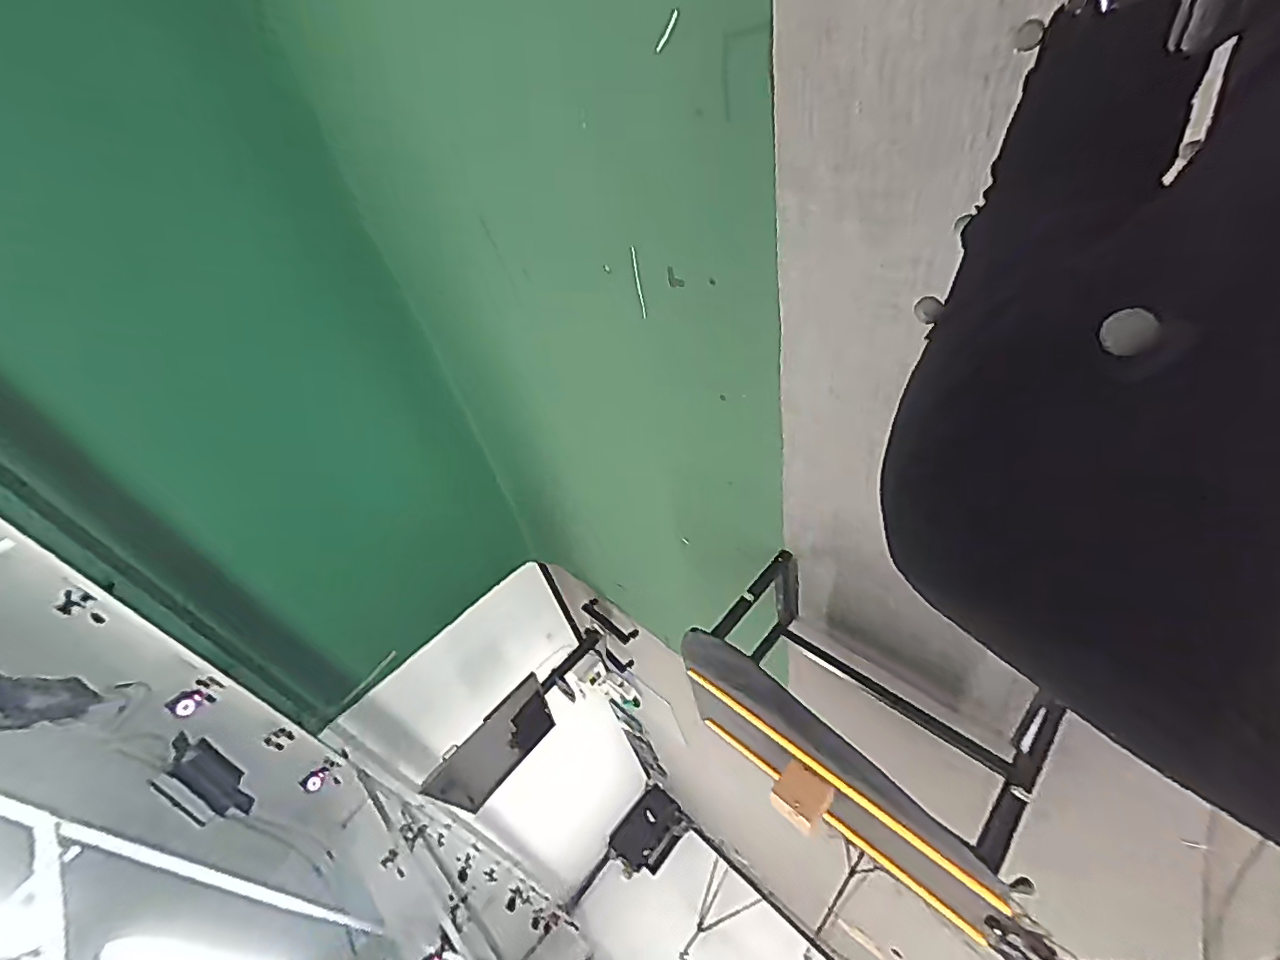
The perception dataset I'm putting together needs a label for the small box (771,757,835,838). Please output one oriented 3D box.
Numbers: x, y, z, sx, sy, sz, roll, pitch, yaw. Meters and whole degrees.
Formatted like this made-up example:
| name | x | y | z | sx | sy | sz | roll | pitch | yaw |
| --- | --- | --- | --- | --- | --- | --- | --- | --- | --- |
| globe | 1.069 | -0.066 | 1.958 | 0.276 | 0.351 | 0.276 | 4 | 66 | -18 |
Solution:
| name | x | y | z | sx | sy | sz | roll | pitch | yaw |
| --- | --- | --- | --- | --- | --- | --- | --- | --- | --- |
| small box | 0.605 | 1.171 | 2.000 | 0.168 | 0.176 | 0.179 | 26 | 146 | 37 |
